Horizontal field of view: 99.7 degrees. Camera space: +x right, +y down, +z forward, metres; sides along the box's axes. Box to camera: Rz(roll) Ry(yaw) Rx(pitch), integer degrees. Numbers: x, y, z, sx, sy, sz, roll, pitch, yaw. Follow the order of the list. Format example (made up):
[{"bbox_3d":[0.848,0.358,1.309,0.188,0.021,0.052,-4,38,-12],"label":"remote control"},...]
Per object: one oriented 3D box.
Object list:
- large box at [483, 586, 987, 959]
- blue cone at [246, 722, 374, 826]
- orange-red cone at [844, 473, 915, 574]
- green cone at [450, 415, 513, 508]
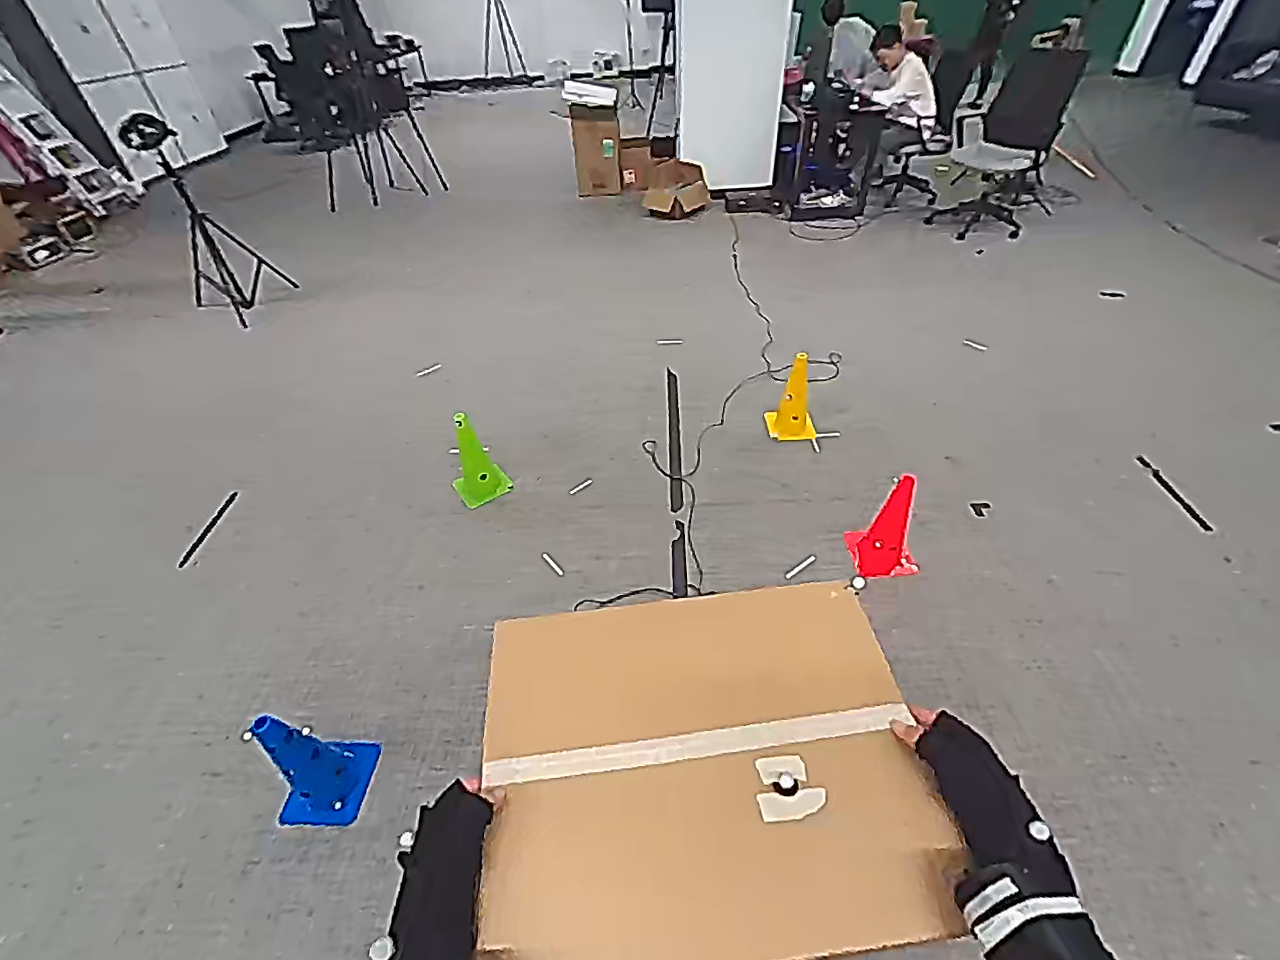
[{"bbox_3d":[0.064,0.356,0.618,0.408,0.320,0.320,-6,47,-3],"label":"large box"},{"bbox_3d":[-0.821,0.681,1.306,0.192,0.380,0.193,-1,43,5],"label":"blue cone"},{"bbox_3d":[0.818,0.120,1.756,0.198,0.360,0.199,-3,41,0],"label":"orange-red cone"},{"bbox_3d":[-0.662,-0.102,2.109,0.202,0.368,0.200,-30,48,-23],"label":"green cone"}]
